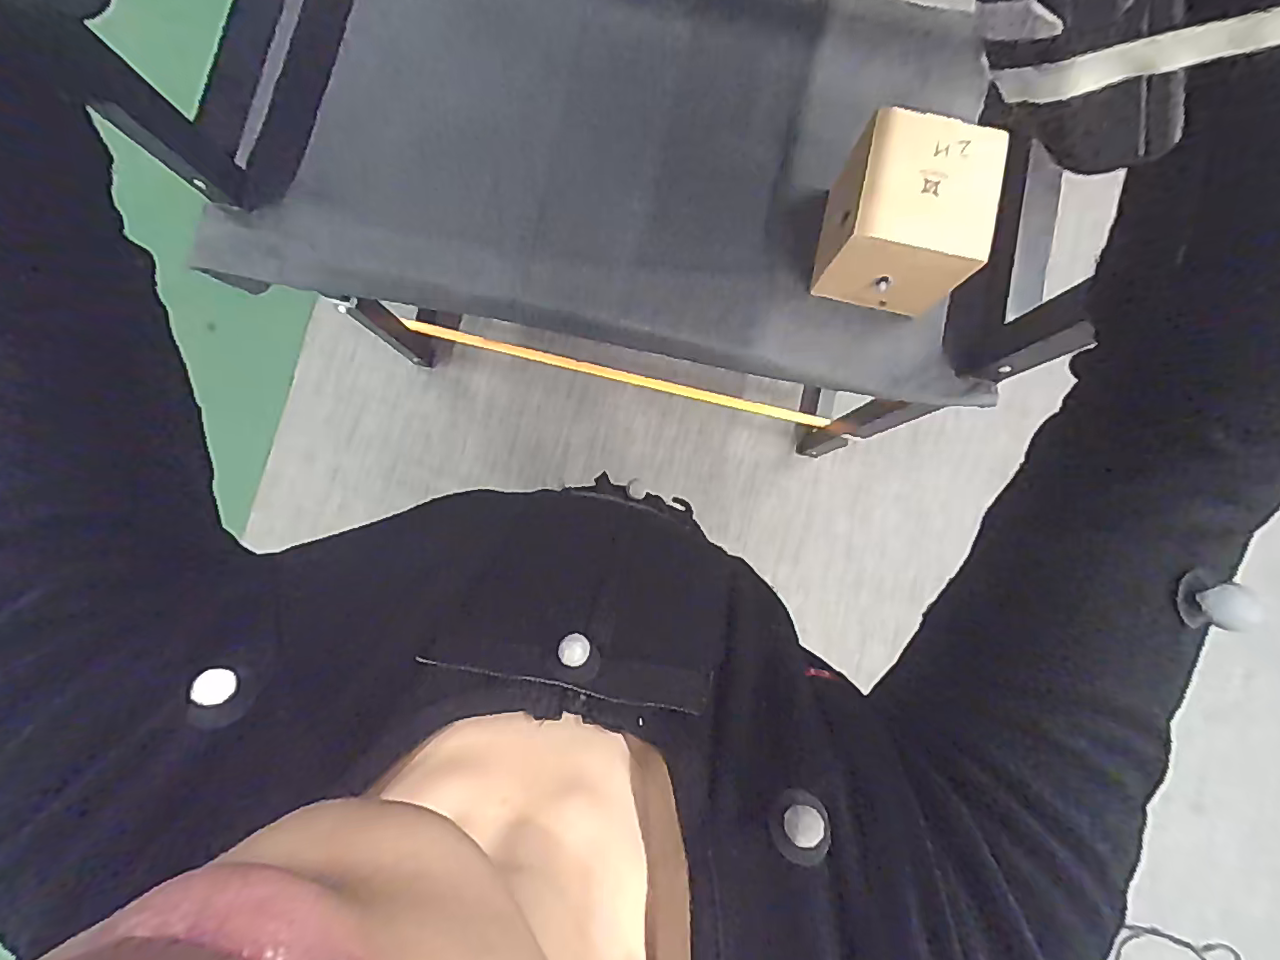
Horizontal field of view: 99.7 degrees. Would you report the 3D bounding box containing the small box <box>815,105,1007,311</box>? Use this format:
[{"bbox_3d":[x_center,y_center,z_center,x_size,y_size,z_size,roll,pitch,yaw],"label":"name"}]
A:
[{"bbox_3d":[0.354,-0.355,0.738,0.168,0.176,0.179,13,84,0],"label":"small box"}]
